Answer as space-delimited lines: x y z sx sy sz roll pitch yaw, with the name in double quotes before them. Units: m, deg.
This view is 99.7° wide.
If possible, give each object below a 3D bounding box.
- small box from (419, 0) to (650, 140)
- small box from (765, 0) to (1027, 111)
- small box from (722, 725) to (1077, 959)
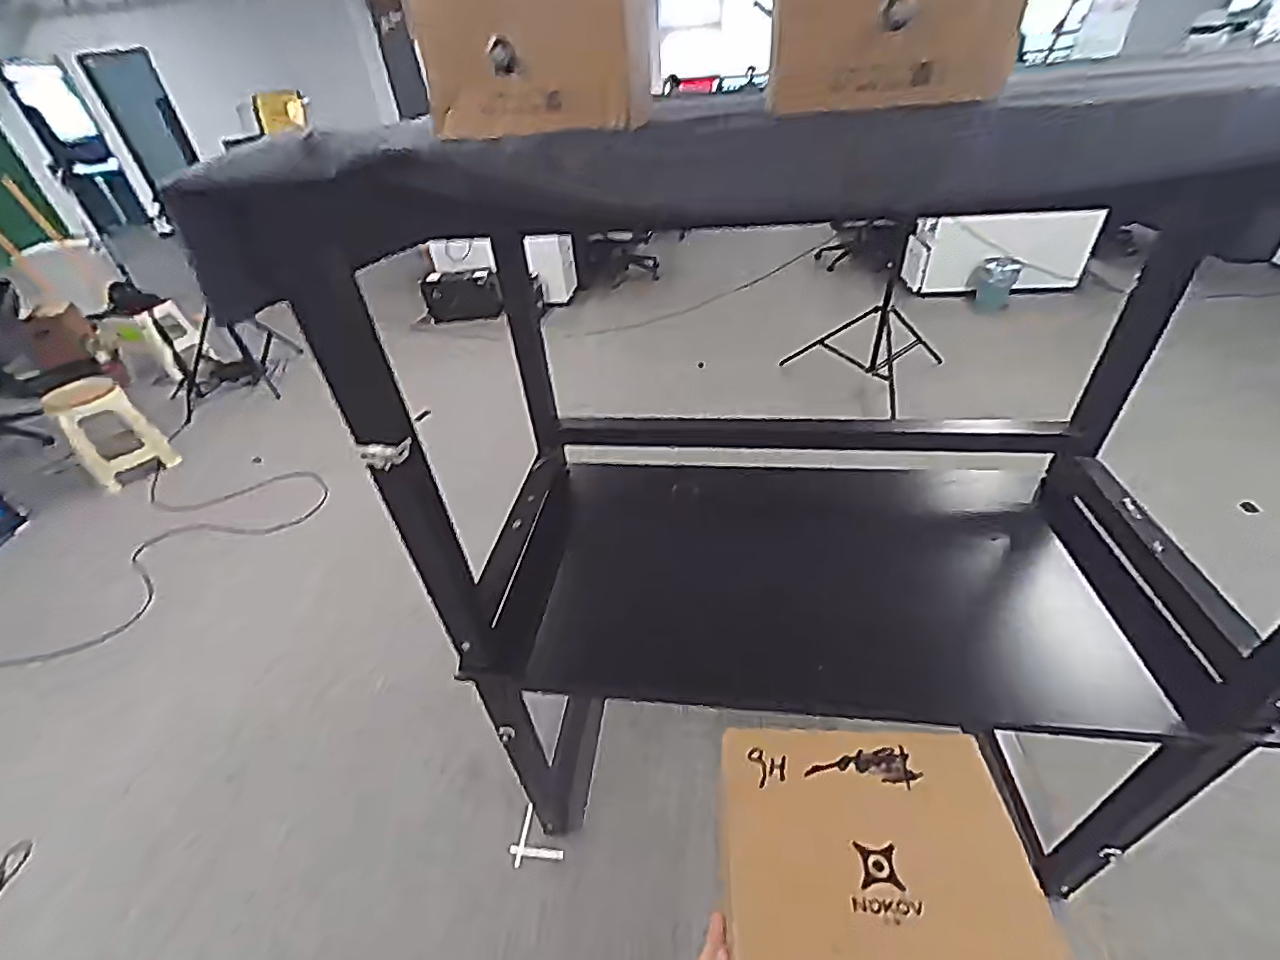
"small box" -0.081 -0.397 0.464 0.168 0.176 0.179 1 37 7
"small box" 0.189 -0.393 0.421 0.168 0.176 0.179 1 36 9
"small box" 0.138 0.280 0.338 0.168 0.176 0.179 -1 38 5
